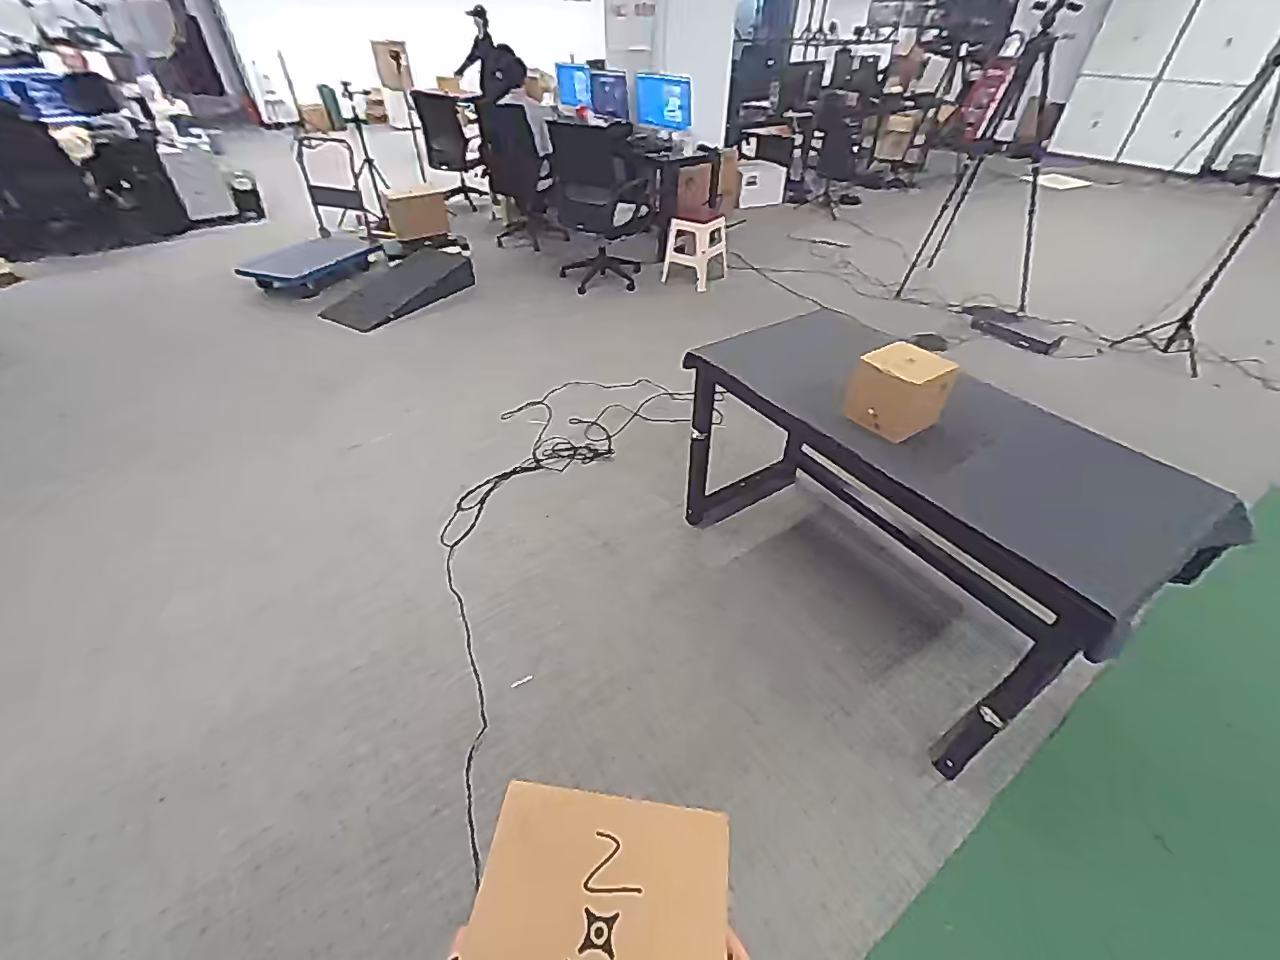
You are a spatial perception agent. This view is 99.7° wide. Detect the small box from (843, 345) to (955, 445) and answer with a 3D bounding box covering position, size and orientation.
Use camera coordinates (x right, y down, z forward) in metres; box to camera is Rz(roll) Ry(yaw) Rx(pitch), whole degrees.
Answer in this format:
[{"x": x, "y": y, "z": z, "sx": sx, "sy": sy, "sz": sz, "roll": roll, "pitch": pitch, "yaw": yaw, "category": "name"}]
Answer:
[{"x": 0.644, "y": -0.215, "z": 1.365, "sx": 0.179, "sy": 0.176, "sz": 0.168, "roll": -23, "pitch": 45, "yaw": -26, "category": "small box"}]
